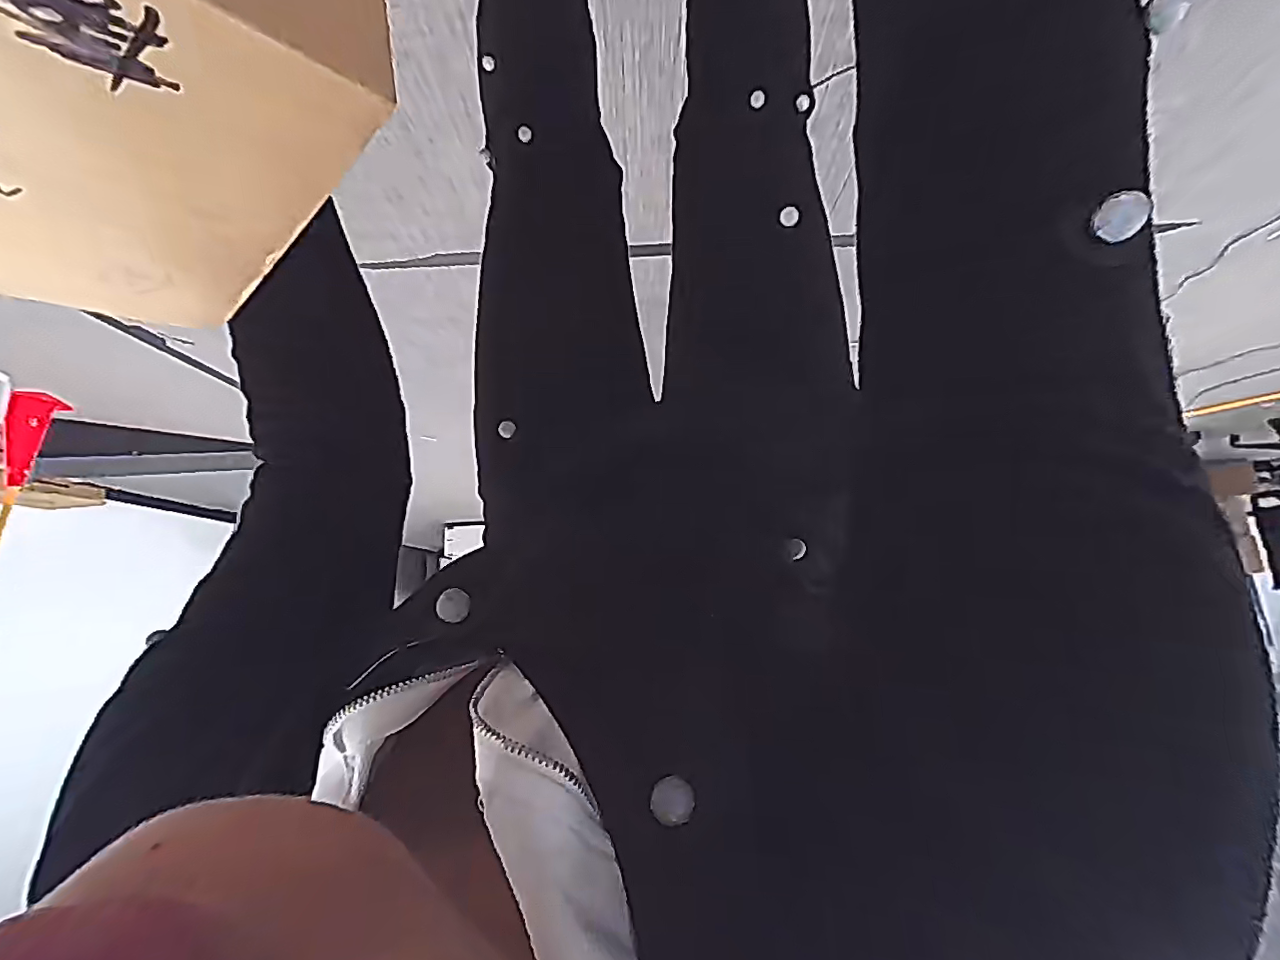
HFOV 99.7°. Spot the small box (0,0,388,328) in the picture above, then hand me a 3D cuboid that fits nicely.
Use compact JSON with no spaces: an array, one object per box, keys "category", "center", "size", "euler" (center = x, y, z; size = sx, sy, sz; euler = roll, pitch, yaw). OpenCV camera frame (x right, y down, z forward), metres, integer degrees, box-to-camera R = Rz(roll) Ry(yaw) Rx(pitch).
[{"category":"small box","center":[-0.189,-0.162,0.136],"size":[0.179,0.176,0.168],"euler":[-12,174,37]}]
